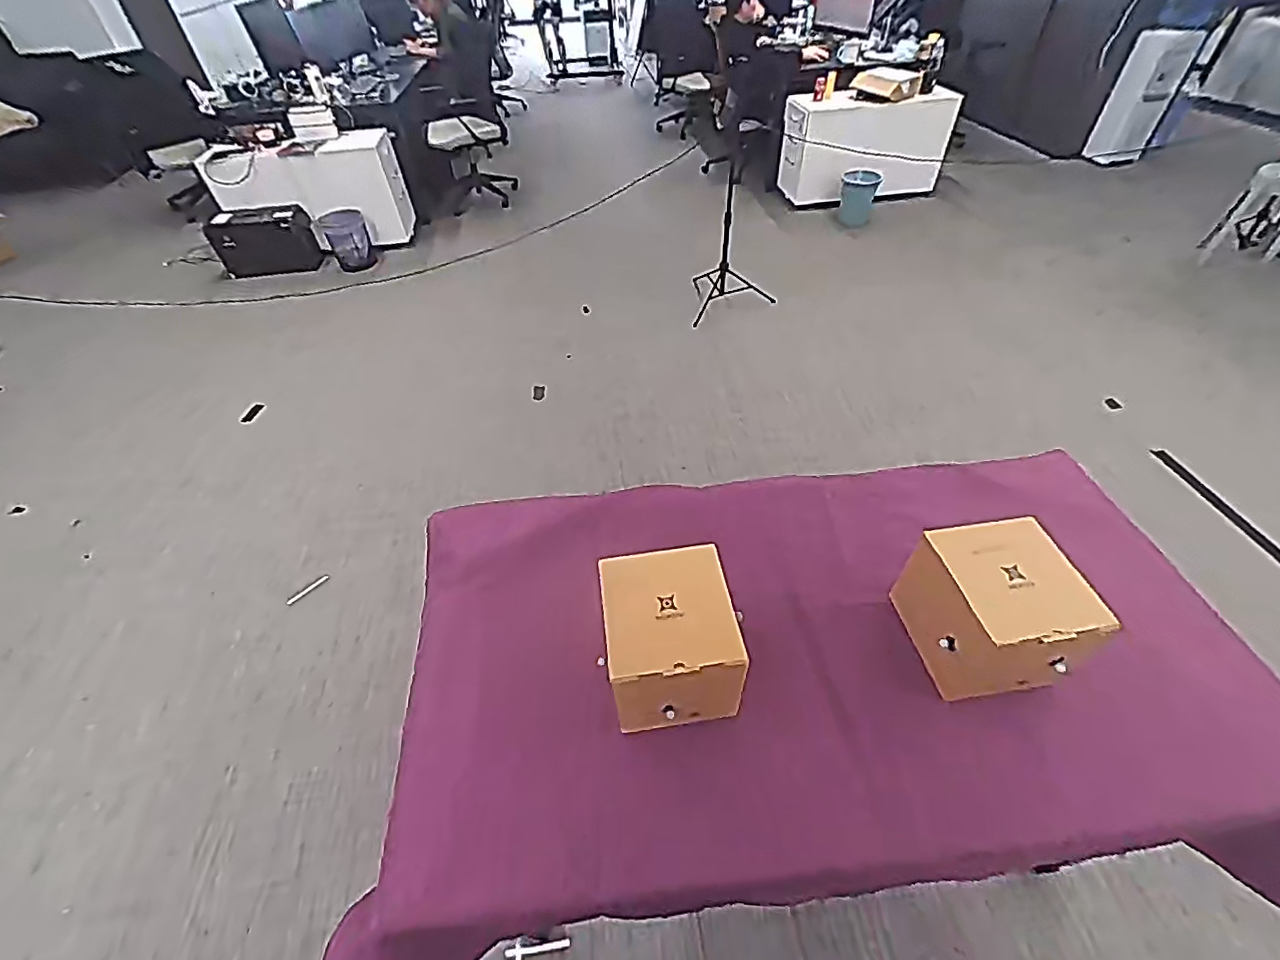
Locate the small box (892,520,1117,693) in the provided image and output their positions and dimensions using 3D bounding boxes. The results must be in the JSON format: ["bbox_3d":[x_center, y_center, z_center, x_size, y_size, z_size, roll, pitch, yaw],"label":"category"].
[{"bbox_3d":[0.486,0.182,0.757,0.168,0.176,0.179,-7,46,-4],"label":"small box"}]

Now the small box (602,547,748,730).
[{"bbox_3d":[0.039,0.219,0.748,0.168,0.176,0.179,-7,47,-4],"label":"small box"}]
